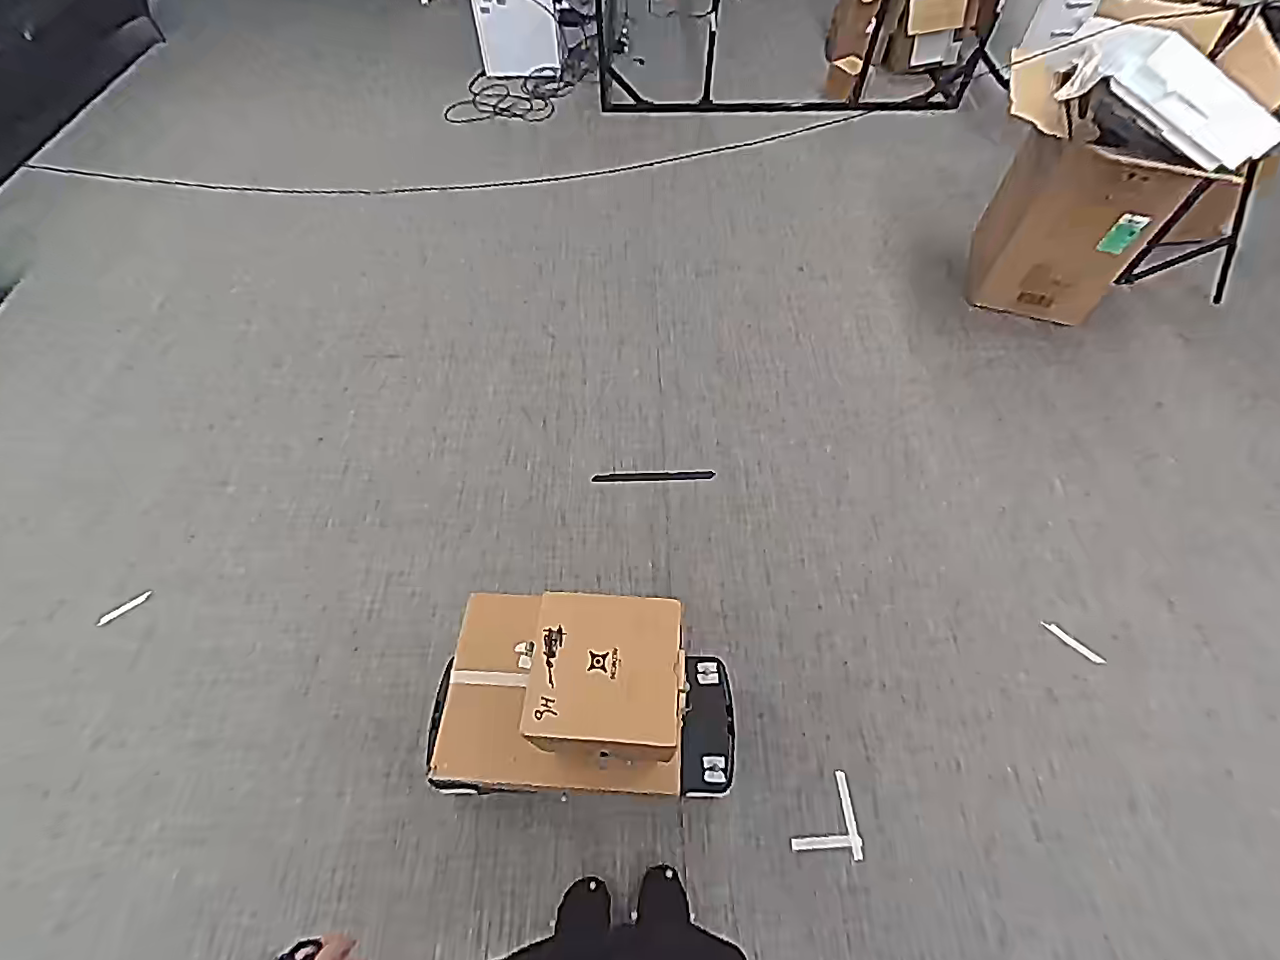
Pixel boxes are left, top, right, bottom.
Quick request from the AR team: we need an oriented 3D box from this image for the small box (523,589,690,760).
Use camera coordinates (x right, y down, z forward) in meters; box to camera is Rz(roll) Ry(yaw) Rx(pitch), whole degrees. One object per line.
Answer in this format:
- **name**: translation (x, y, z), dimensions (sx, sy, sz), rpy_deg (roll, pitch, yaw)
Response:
- **small box**: translation (-0.034, 0.251, 0.686), dimensions (0.179, 0.176, 0.168), rpy_deg (4, 57, 2)

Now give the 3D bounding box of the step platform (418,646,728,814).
- **step platform**: translation (-0.141, 0.571, 1.249), dimensions (0.684, 0.204, 0.286), rpy_deg (4, 58, 4)

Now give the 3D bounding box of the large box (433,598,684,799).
- **large box**: translation (-0.121, 0.434, 1.054), dimensions (0.408, 0.320, 0.320), rpy_deg (2, 57, 3)
